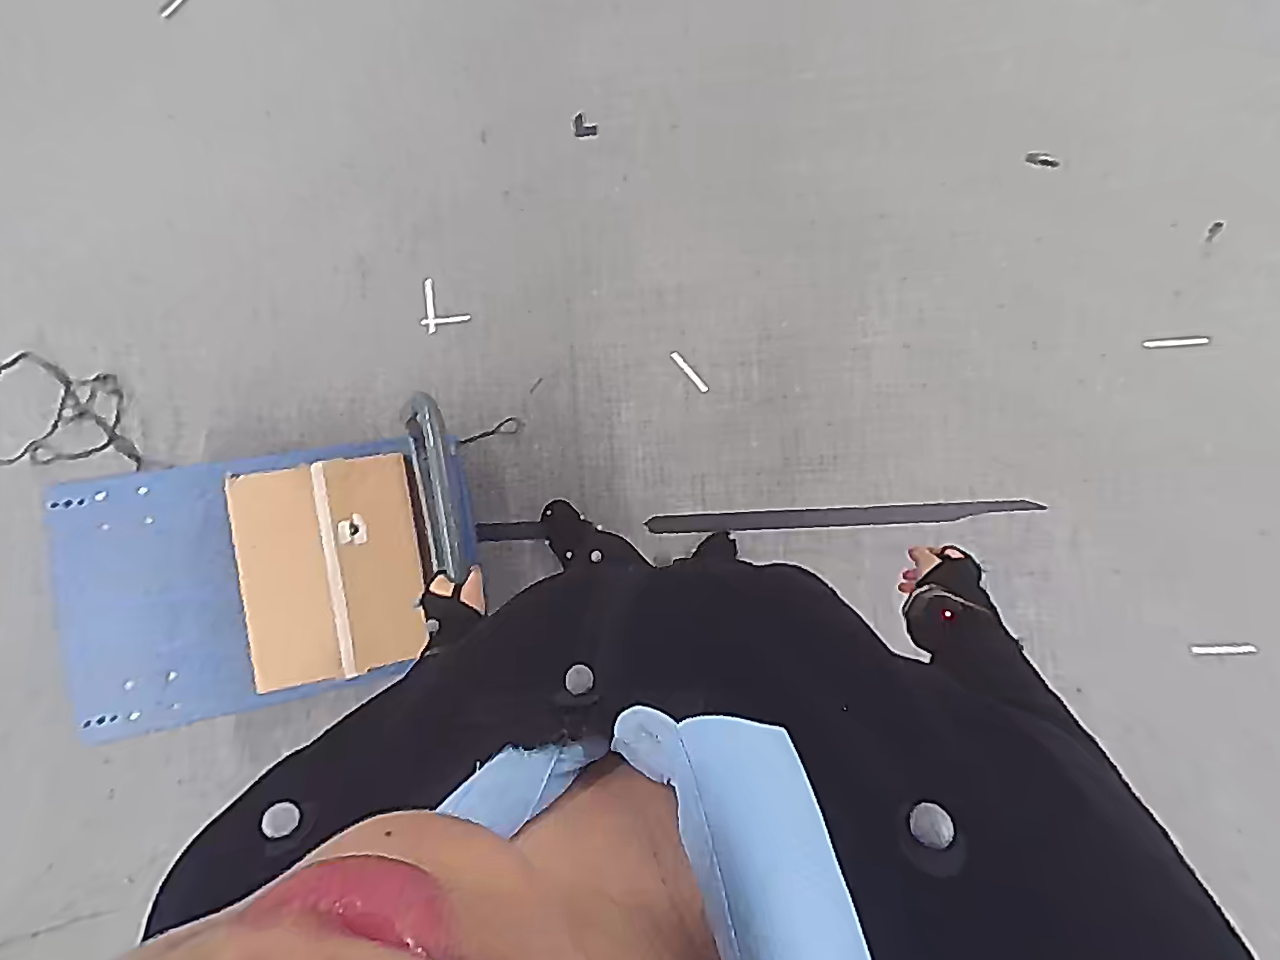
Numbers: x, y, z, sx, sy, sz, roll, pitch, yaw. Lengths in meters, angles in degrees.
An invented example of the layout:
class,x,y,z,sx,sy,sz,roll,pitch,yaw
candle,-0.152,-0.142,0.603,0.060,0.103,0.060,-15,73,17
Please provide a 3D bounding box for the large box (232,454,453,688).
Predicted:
class,x,y,z,sx,sy,sz,roll,pitch,yaw
large box,-0.615,0.178,1.183,0.320,0.320,0.408,-10,88,-16
